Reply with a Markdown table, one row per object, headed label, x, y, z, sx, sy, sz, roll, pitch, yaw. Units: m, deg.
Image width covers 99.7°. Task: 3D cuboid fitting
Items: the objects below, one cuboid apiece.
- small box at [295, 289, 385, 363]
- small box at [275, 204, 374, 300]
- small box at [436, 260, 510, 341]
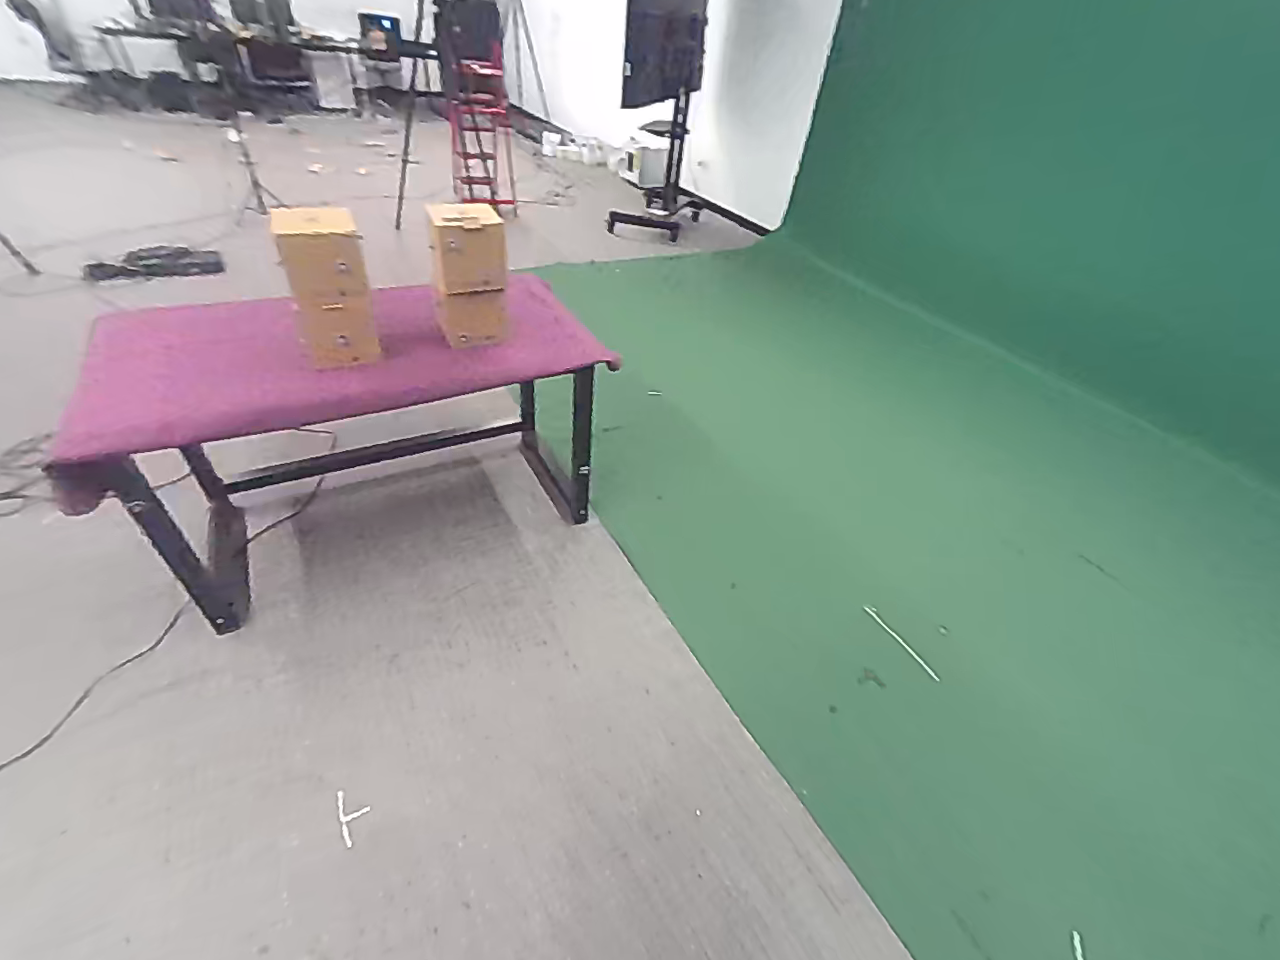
| label | x | y | z | sx | sy | sz | roll | pitch | yaw |
| --- | --- | --- | --- | --- | --- | --- | --- | --- | --- |
| small box | -0.764 | -0.411 | 1.383 | 0.168 | 0.176 | 0.179 | -14 | 46 | -23 |
| small box | -0.742 | -0.535 | 1.280 | 0.168 | 0.176 | 0.179 | -14 | 46 | -23 |
| small box | -0.470 | -0.505 | 1.532 | 0.168 | 0.176 | 0.179 | -12 | 45 | -23 |
